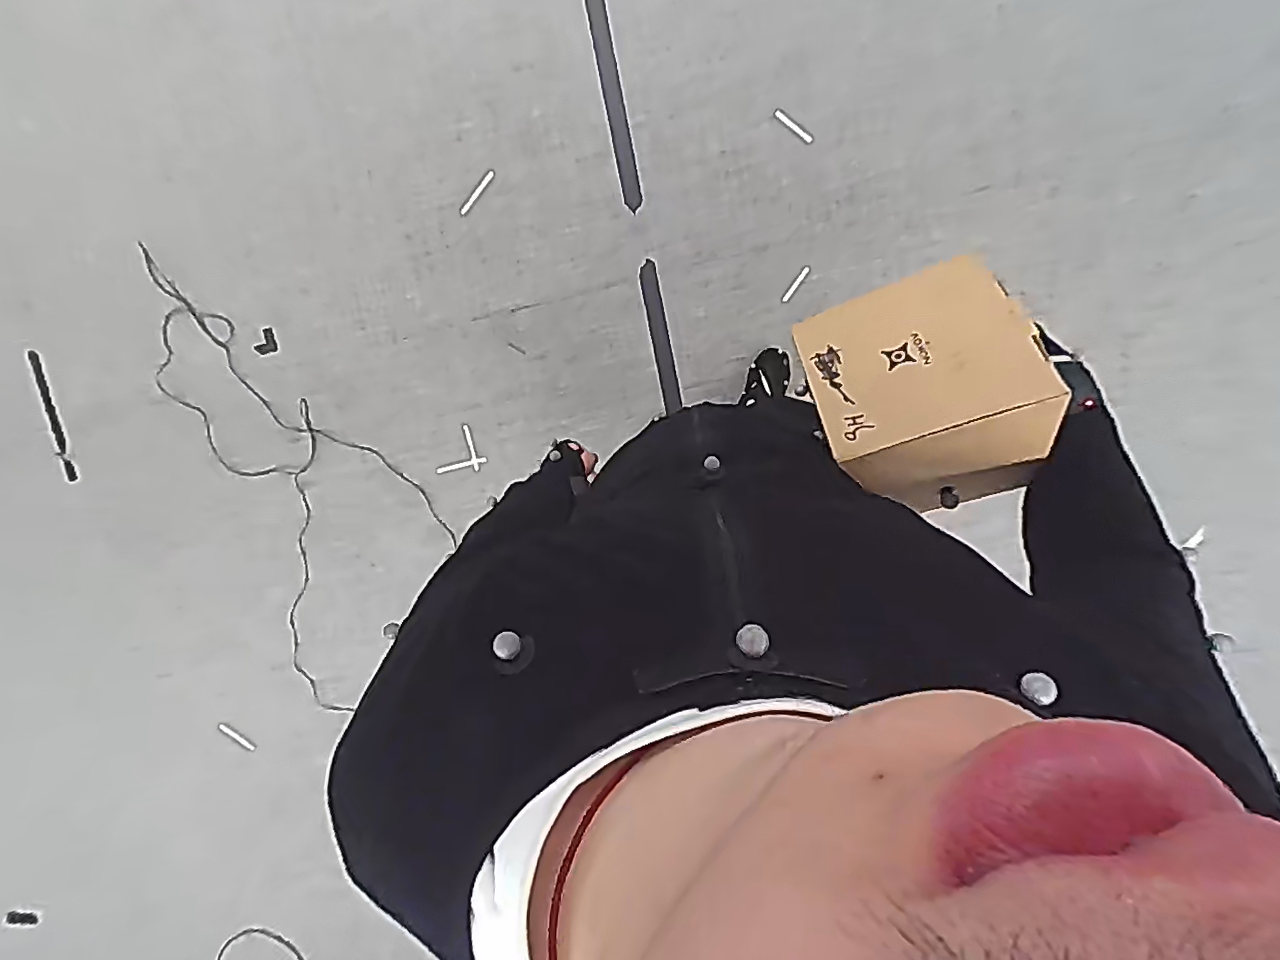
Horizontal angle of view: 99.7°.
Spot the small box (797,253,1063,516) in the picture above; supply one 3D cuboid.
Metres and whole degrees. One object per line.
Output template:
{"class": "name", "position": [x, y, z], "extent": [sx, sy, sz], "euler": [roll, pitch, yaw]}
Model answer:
{"class": "small box", "position": [0.278, -0.083, 0.550], "extent": [0.179, 0.176, 0.168], "euler": [-18, 57, 19]}
